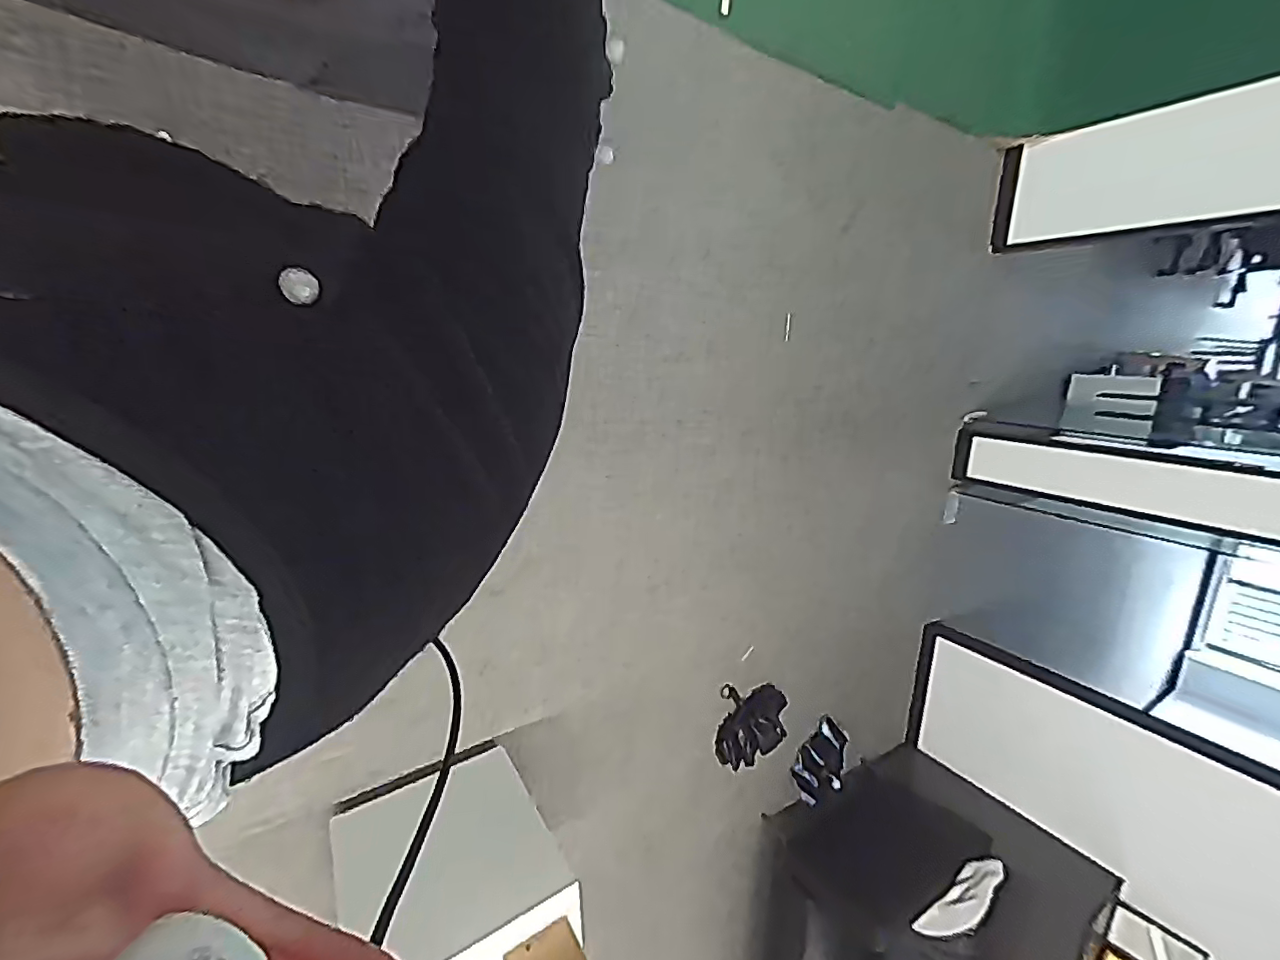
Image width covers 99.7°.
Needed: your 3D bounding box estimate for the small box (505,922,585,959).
[{"bbox_3d":[-0.201,1.182,1.237,0.168,0.176,0.179,-13,110,-30],"label":"small box"}]
